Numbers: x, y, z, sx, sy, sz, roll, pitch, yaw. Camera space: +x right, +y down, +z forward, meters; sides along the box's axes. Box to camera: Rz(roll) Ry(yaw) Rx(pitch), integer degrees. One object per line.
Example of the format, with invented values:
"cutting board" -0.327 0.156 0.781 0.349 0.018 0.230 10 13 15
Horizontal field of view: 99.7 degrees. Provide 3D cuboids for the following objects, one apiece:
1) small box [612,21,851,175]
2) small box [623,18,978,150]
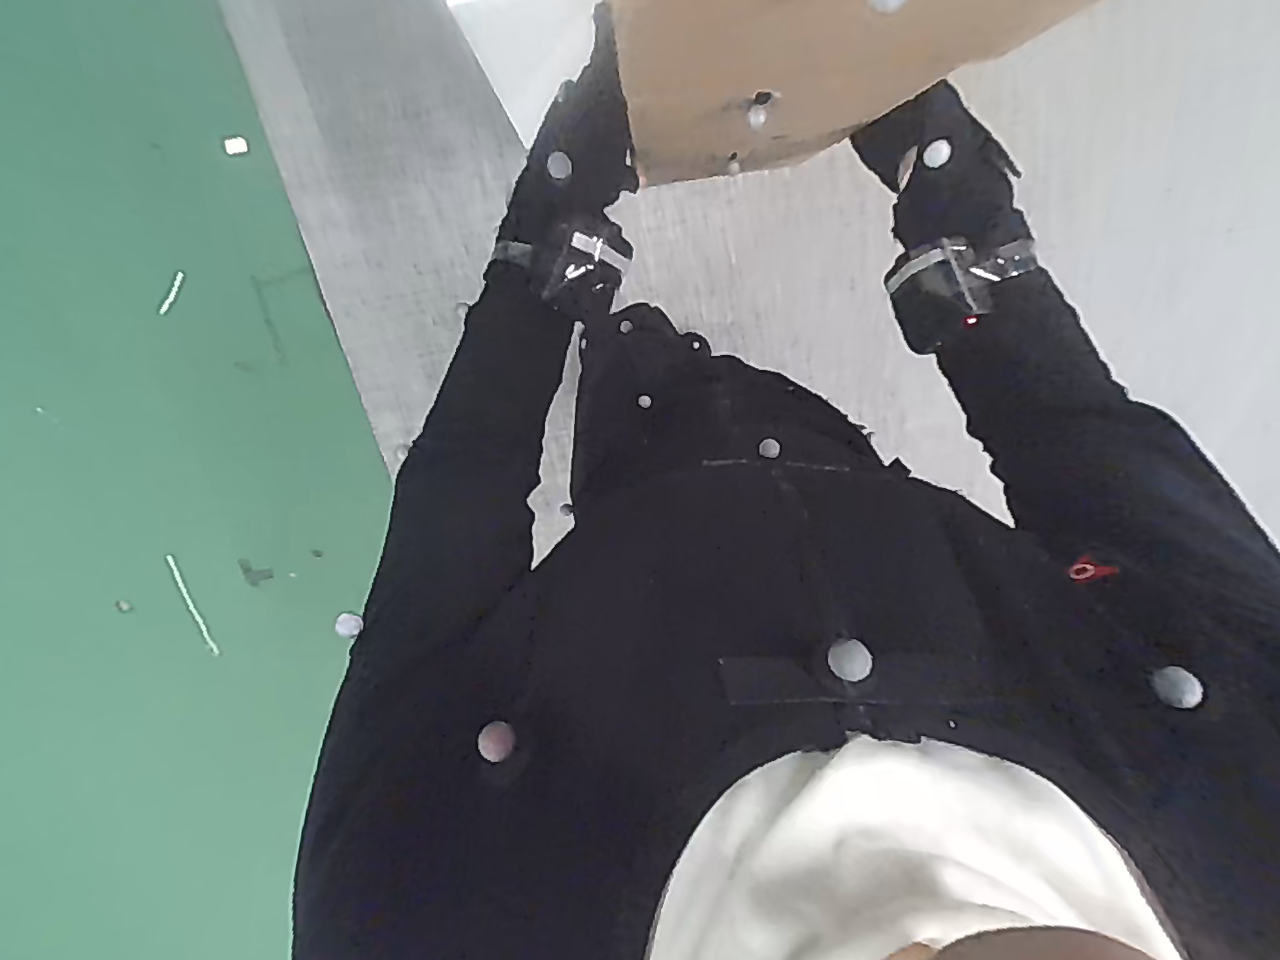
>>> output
"small box" 0.067 -0.369 0.455 0.179 0.176 0.168 -8 113 2
"small box" 0.067 -0.311 0.304 0.168 0.176 0.179 -8 113 3
